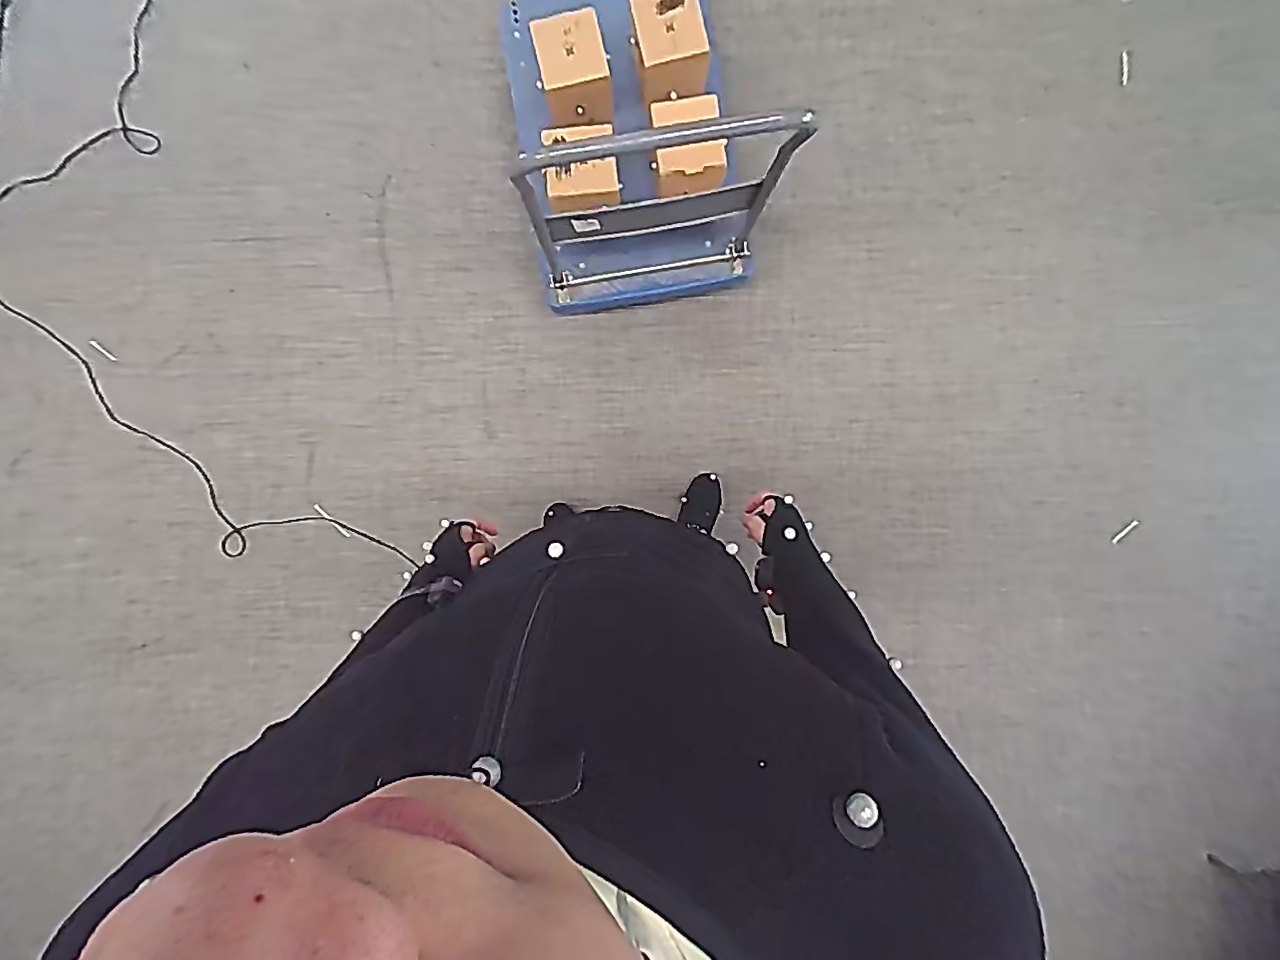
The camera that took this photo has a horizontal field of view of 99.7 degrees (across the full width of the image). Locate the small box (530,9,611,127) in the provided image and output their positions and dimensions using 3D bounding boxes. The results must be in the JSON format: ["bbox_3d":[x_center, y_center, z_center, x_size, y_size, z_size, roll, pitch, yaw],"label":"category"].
[{"bbox_3d":[-0.174,-1.057,1.407,0.168,0.176,0.179,-14,90,-1],"label":"small box"}]

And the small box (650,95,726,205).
[{"bbox_3d":[0.118,-0.851,1.406,0.168,0.176,0.179,-9,90,0],"label":"small box"}]

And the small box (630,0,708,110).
[{"bbox_3d":[0.070,-1.117,1.406,0.168,0.176,0.179,-13,91,1],"label":"small box"}]
